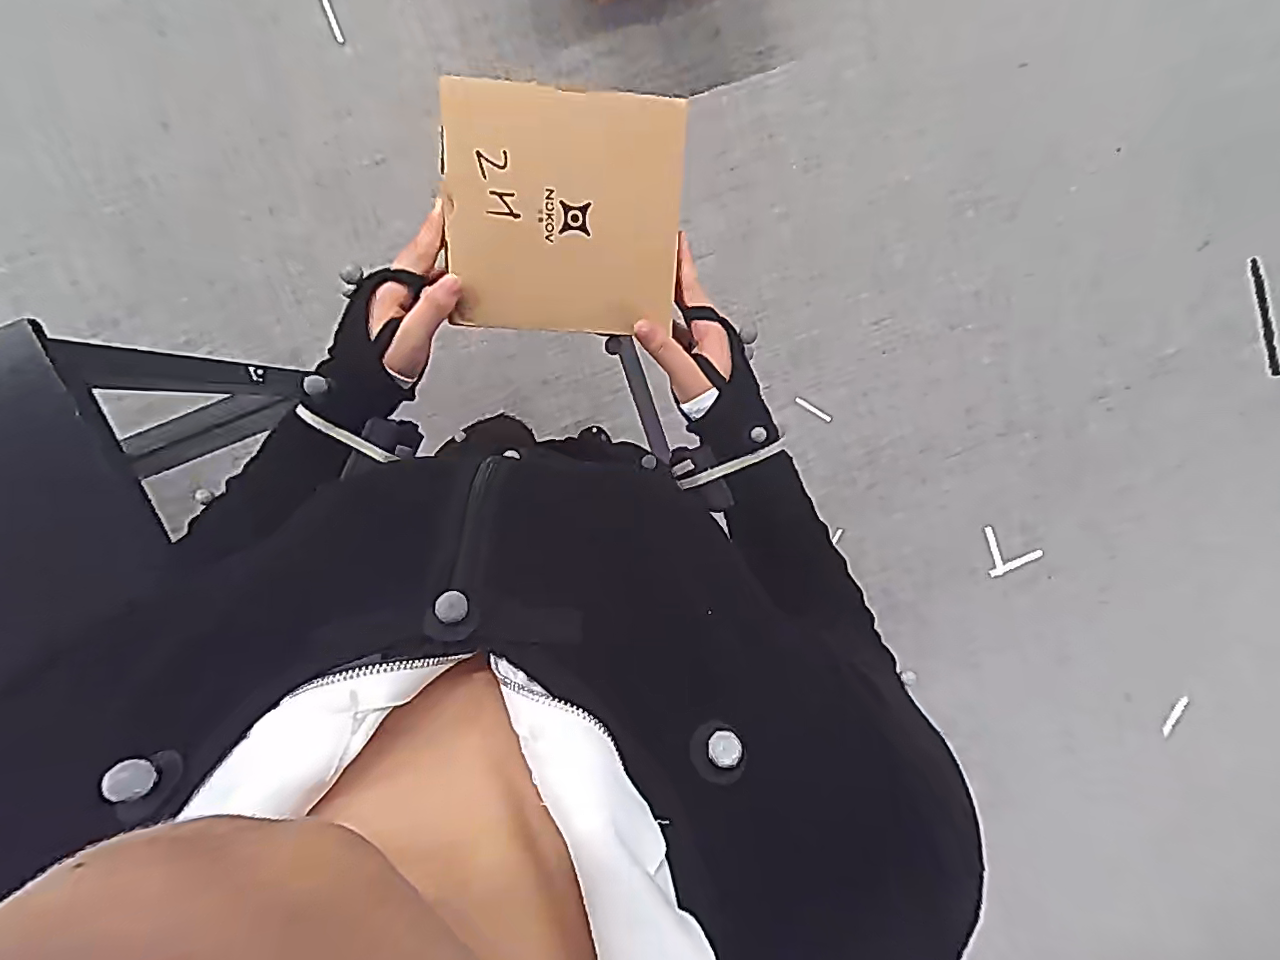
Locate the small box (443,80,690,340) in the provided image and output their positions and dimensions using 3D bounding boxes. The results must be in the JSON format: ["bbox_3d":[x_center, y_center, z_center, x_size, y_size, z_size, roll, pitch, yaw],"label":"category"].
[{"bbox_3d":[-0.062,-0.216,0.478,0.179,0.176,0.168,2,105,-5],"label":"small box"}]
